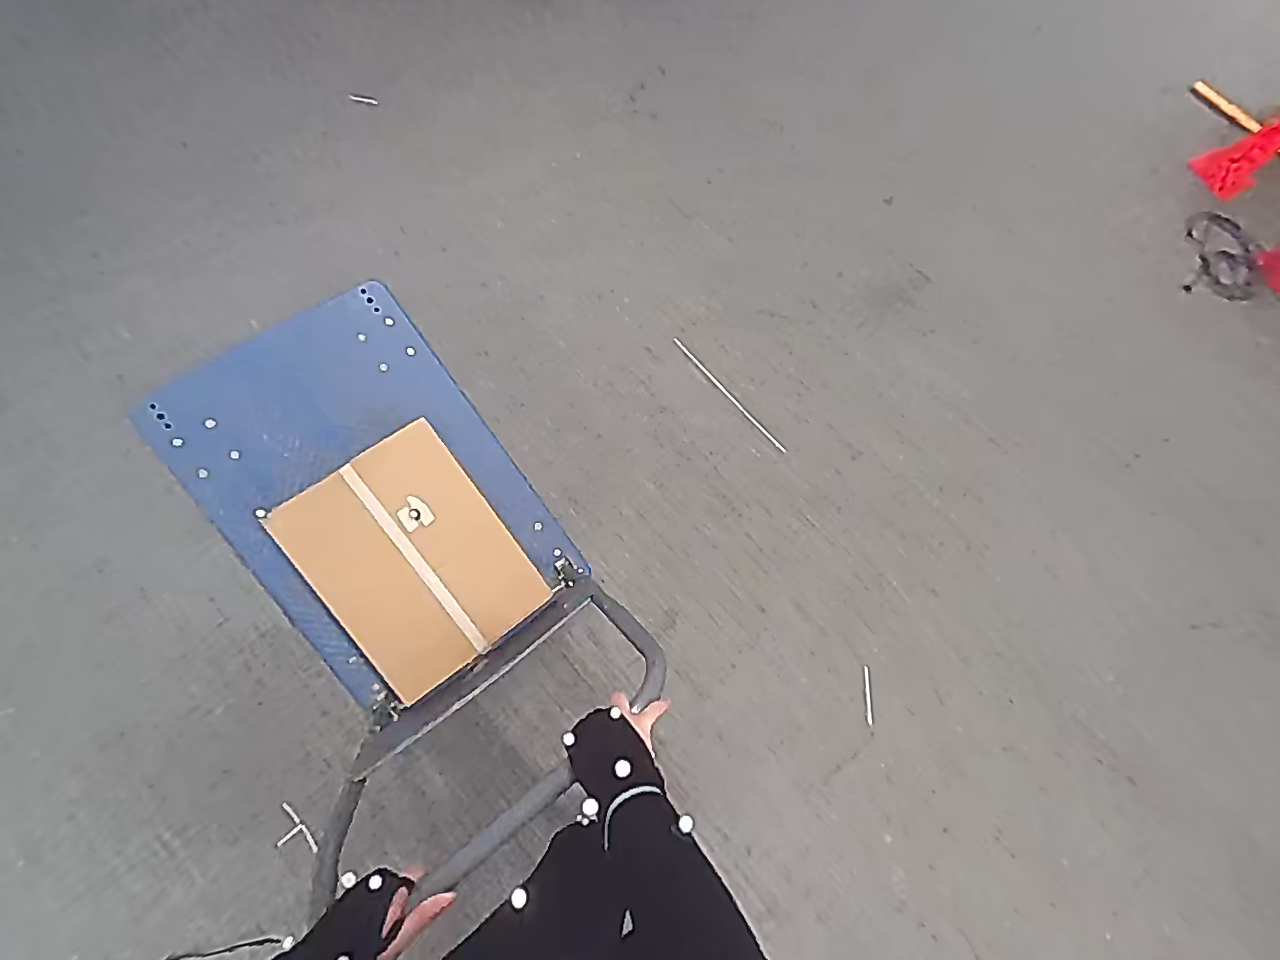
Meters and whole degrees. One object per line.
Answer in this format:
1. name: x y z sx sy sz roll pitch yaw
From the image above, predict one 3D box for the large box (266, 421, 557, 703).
1. large box: -0.417 0.150 1.084 0.320 0.320 0.408 -37 95 -14
